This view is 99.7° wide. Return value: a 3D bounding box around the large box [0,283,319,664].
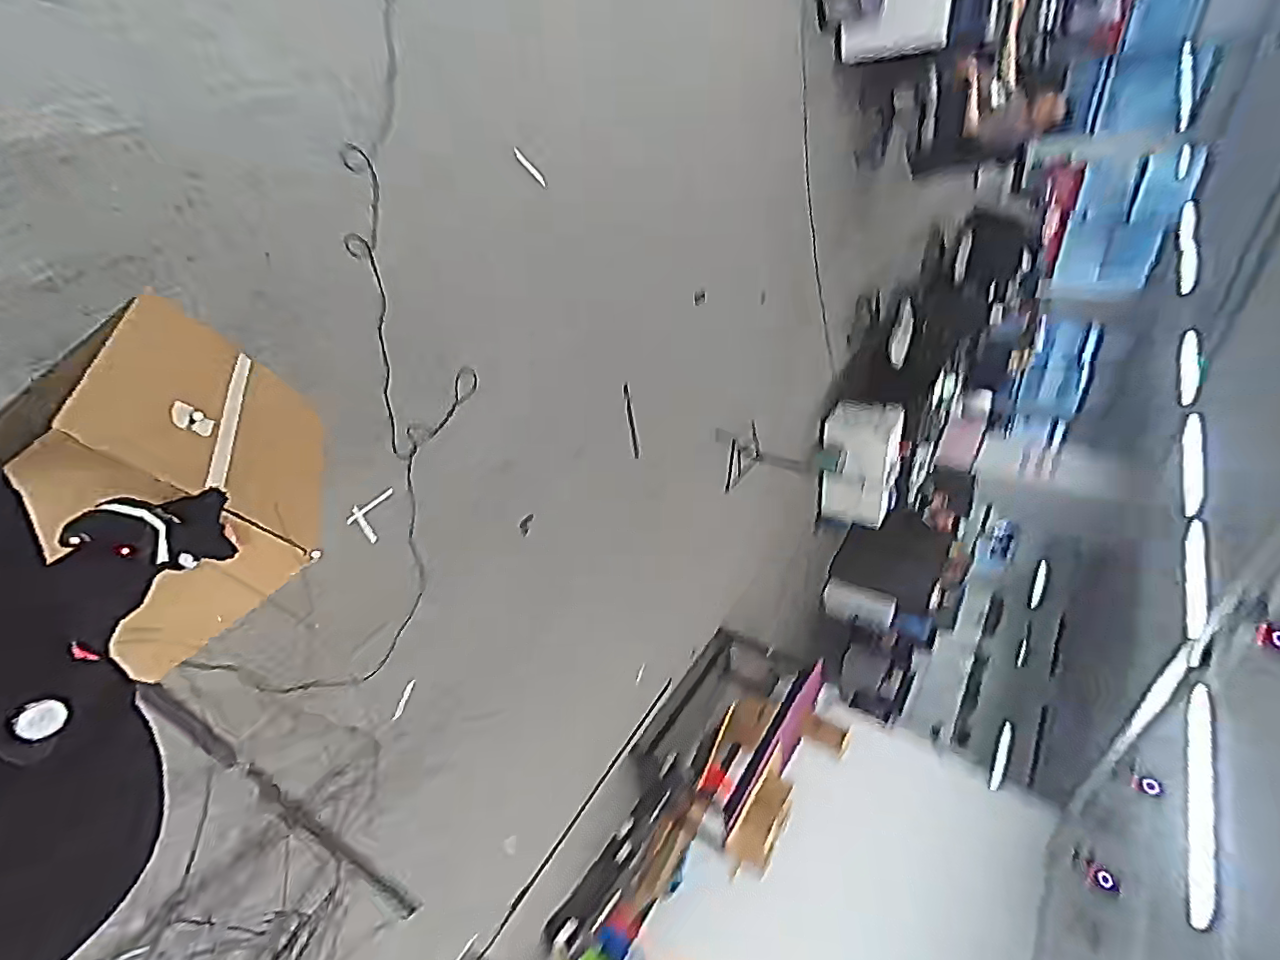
[{"bbox_3d":[-0.728,-0.011,0.808,0.320,0.408,0.320,-37,138,6],"label":"large box"}]
